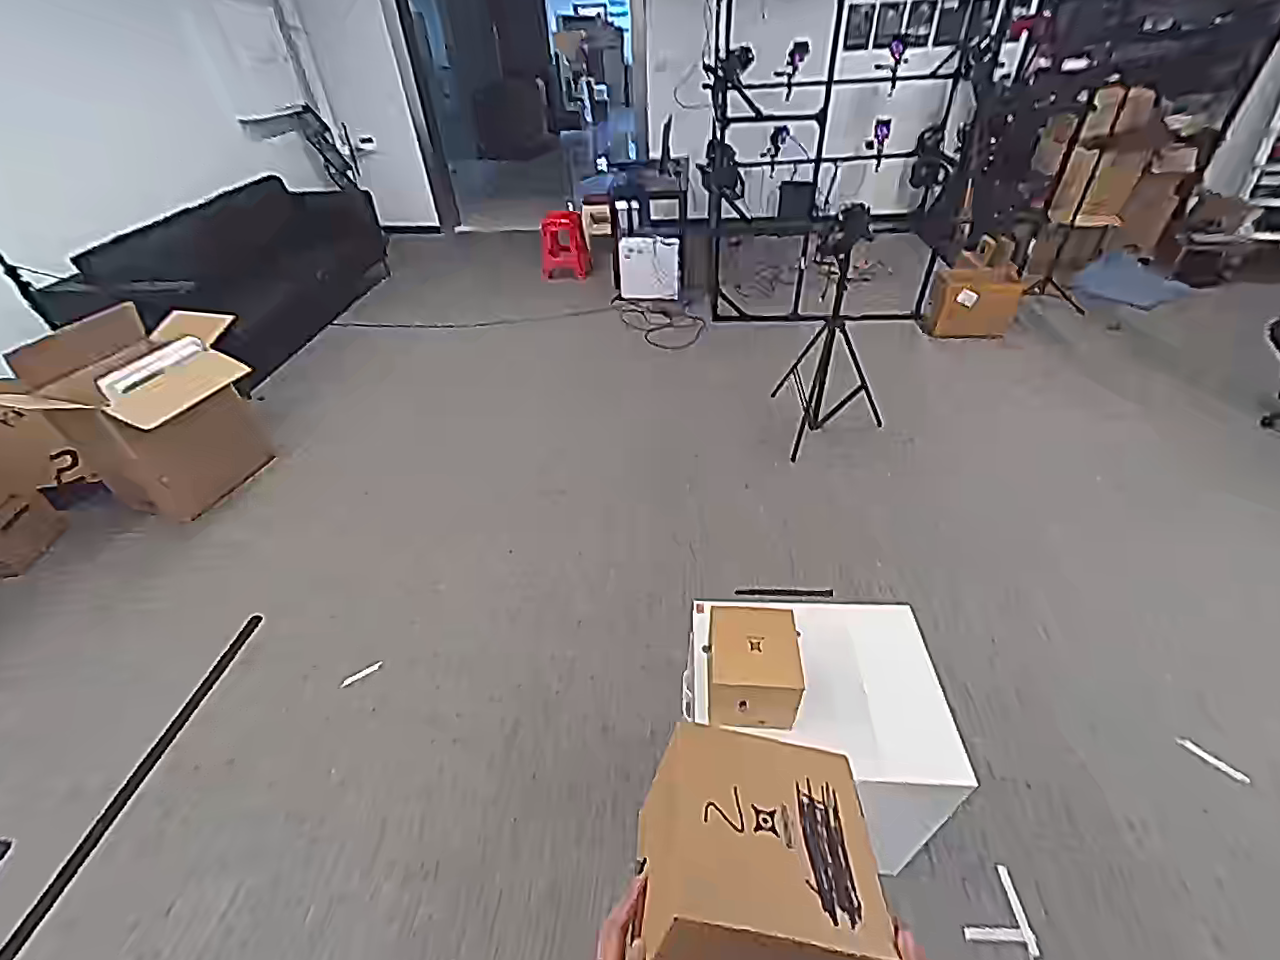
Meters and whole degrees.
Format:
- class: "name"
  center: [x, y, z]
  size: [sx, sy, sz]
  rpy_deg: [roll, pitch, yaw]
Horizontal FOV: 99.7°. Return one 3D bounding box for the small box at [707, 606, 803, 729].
- class: "small box"
  center: [0.221, 0.375, 1.079]
  size: [0.168, 0.176, 0.179]
  rpy_deg: [1, 40, 5]
